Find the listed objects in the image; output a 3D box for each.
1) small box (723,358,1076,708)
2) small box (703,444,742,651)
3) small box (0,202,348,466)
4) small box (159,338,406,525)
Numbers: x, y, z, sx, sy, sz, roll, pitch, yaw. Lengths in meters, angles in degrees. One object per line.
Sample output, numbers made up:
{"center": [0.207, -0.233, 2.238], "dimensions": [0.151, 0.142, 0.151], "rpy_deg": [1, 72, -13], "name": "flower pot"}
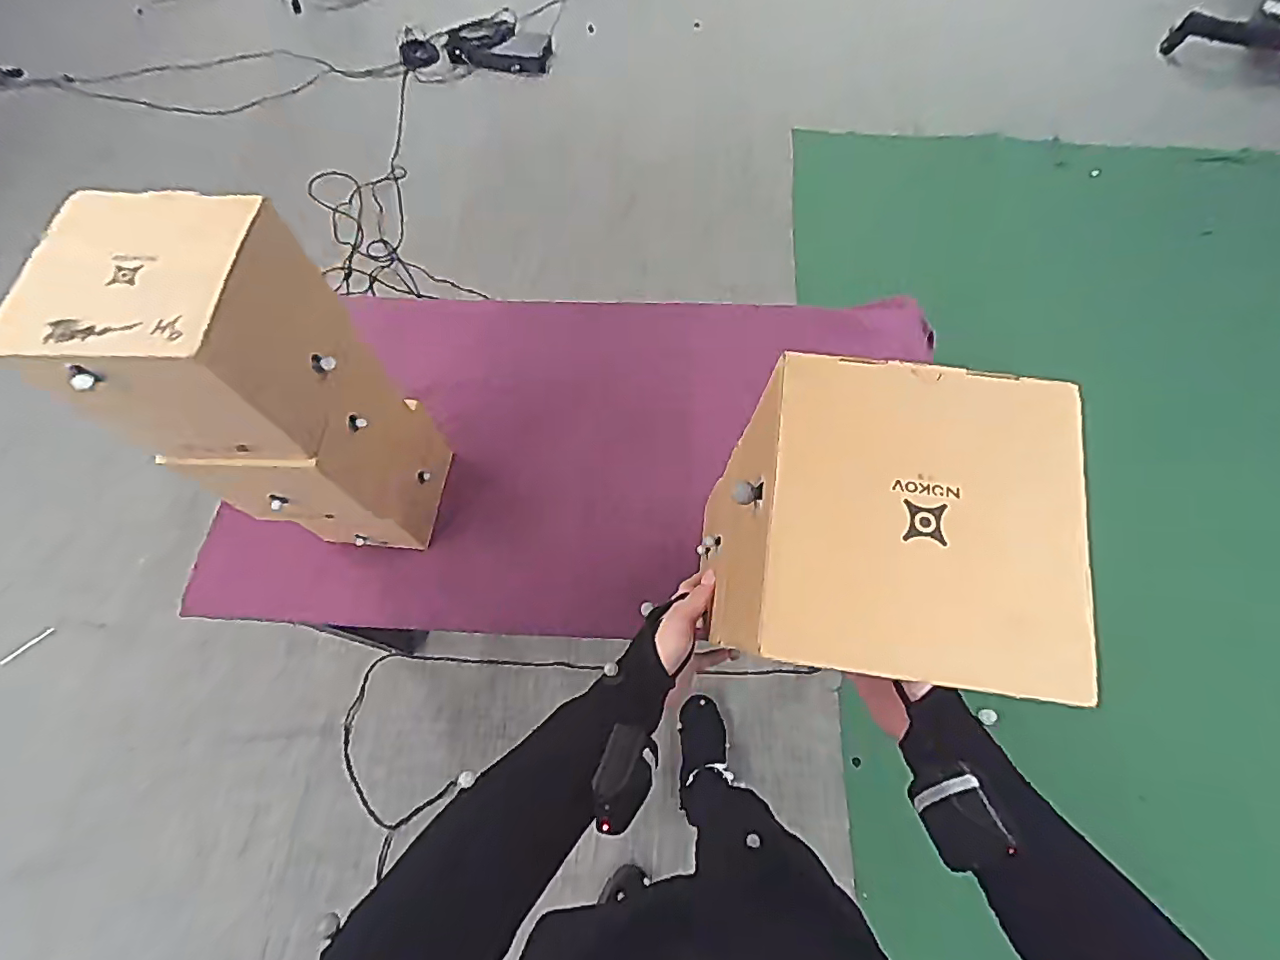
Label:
{"center": [0.151, 0.040, 0.371], "dimensions": [0.168, 0.176, 0.179], "rpy_deg": [7, 75, 5], "name": "small box"}
{"center": [0.154, 0.081, 0.527], "dimensions": [0.168, 0.176, 0.179], "rpy_deg": [7, 75, 4], "name": "small box"}
{"center": [-0.408, -0.130, 0.511], "dimensions": [0.168, 0.176, 0.179], "rpy_deg": [1, 65, 1], "name": "small box"}
{"center": [-0.408, -0.053, 0.657], "dimensions": [0.168, 0.176, 0.179], "rpy_deg": [2, 65, 1], "name": "small box"}
